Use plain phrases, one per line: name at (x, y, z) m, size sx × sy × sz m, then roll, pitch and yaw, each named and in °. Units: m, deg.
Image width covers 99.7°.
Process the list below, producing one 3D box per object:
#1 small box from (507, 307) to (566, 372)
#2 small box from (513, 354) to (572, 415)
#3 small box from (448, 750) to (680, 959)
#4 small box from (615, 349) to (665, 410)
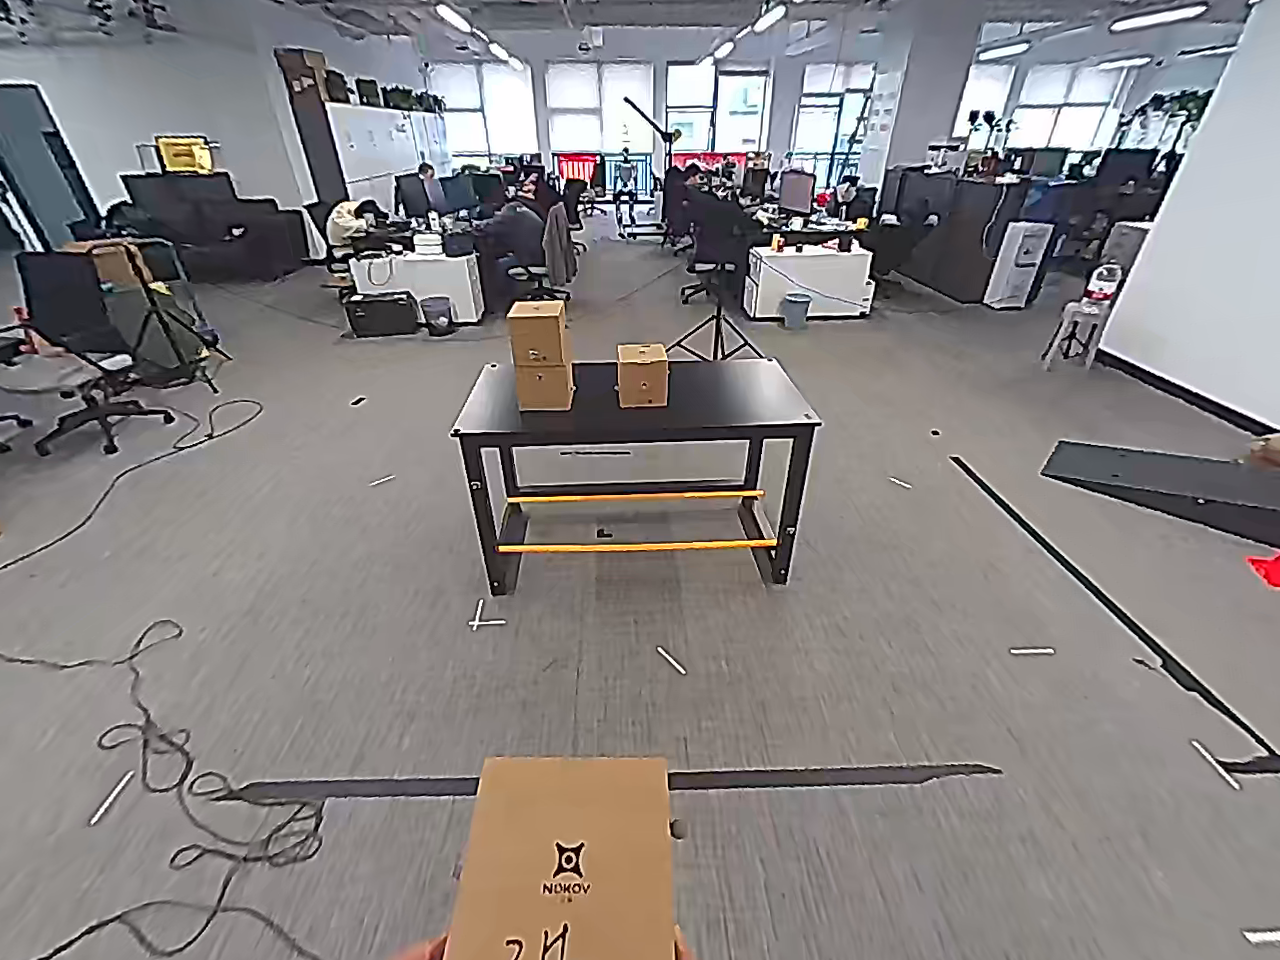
small box at (-0.340, -0.471, 1.811) m, size 0.168 × 0.176 × 0.179 m, roll -3°, pitch 33°, yaw -1°
small box at (-0.336, -0.334, 1.899) m, size 0.179 × 0.176 × 0.168 m, roll -1°, pitch 32°, yaw -2°
small box at (-0.055, 0.364, 0.475) m, size 0.168 × 0.176 × 0.179 m, roll 0°, pitch 40°, yaw -1°
small box at (0.000, -0.354, 1.927) m, size 0.168 × 0.176 × 0.179 m, roll -3°, pitch 33°, yaw -3°
